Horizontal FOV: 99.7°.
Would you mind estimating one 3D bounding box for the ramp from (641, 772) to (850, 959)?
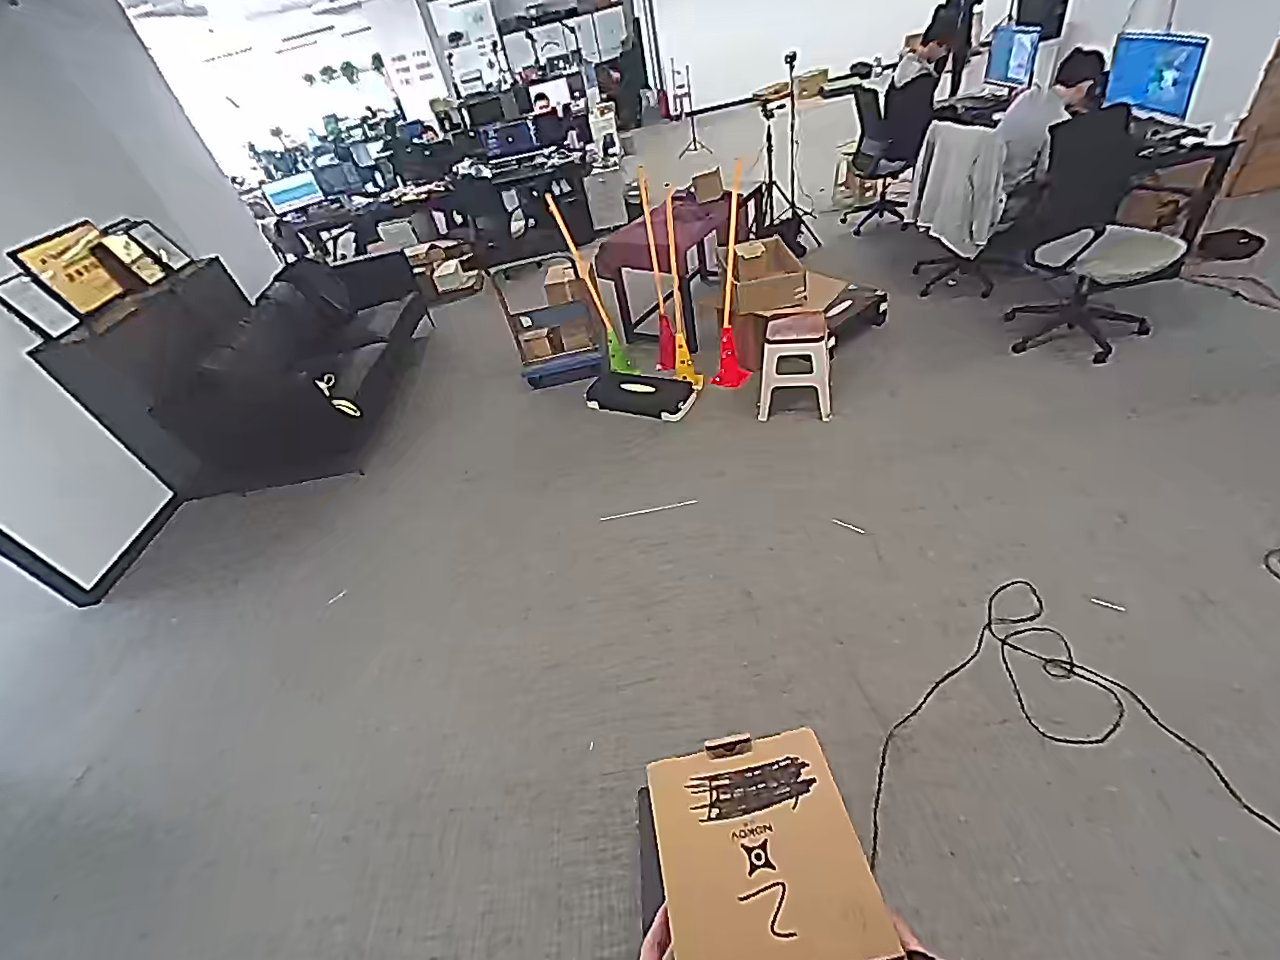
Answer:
[{"bbox_3d":[0.251,1.190,1.244,0.509,0.206,0.991,-13,40,4],"label":"ramp"}]
